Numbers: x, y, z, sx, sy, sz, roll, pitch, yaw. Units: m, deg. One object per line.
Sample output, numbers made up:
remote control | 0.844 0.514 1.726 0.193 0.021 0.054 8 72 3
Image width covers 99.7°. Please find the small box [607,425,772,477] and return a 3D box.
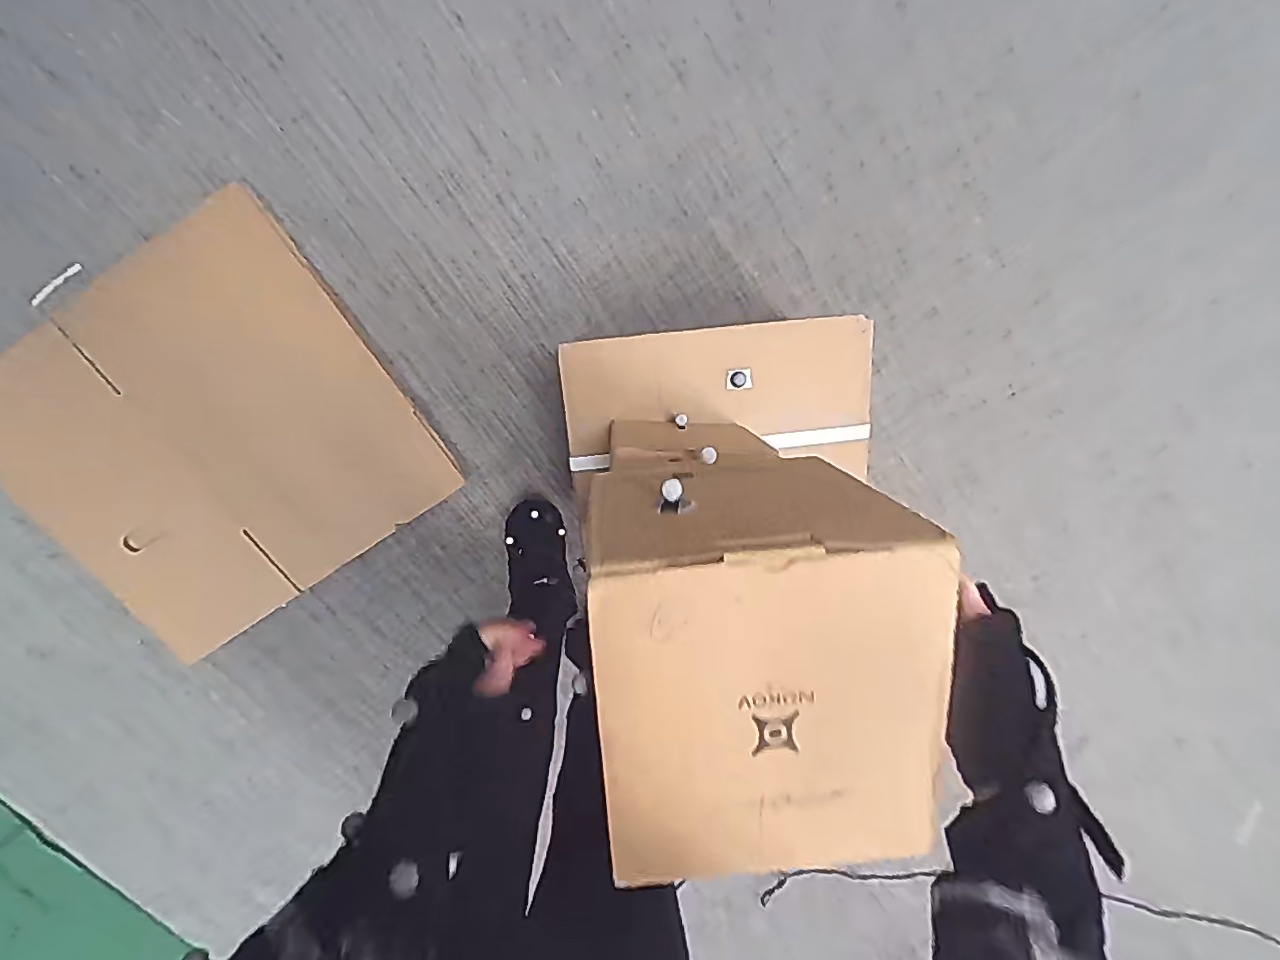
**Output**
small box | 0.049 0.026 0.662 0.179 0.176 0.168 -2 104 -4

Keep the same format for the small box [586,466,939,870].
small box | 0.057 0.093 0.340 0.168 0.176 0.179 -5 106 -1
